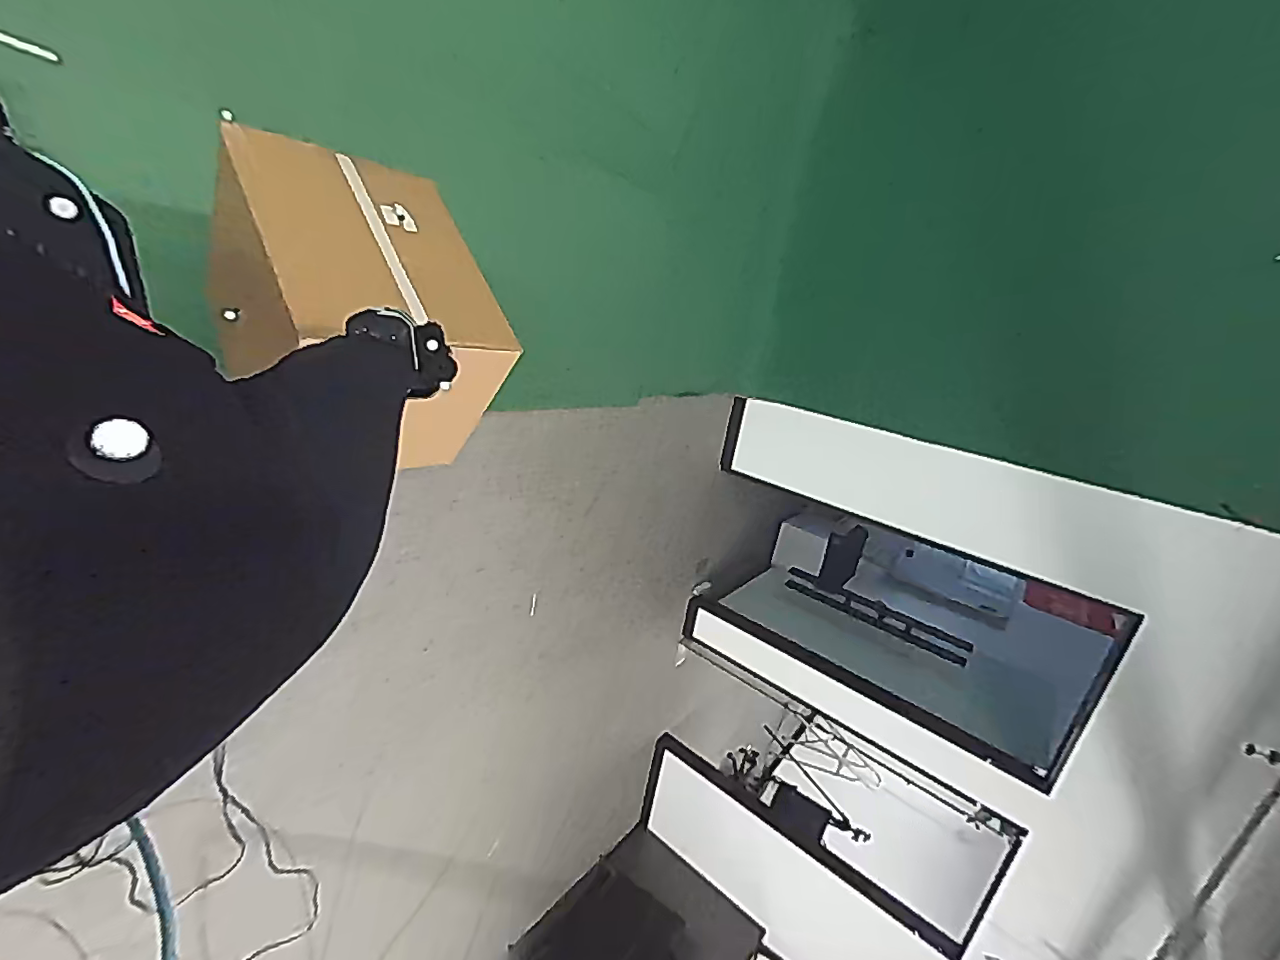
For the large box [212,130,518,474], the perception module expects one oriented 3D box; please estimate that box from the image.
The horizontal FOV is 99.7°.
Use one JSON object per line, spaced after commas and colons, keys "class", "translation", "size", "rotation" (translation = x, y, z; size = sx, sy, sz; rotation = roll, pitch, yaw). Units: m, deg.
{"class": "large box", "translation": [-0.473, -0.269, 0.903], "size": [0.320, 0.408, 0.320], "rotation": [-10, 153, -47]}
